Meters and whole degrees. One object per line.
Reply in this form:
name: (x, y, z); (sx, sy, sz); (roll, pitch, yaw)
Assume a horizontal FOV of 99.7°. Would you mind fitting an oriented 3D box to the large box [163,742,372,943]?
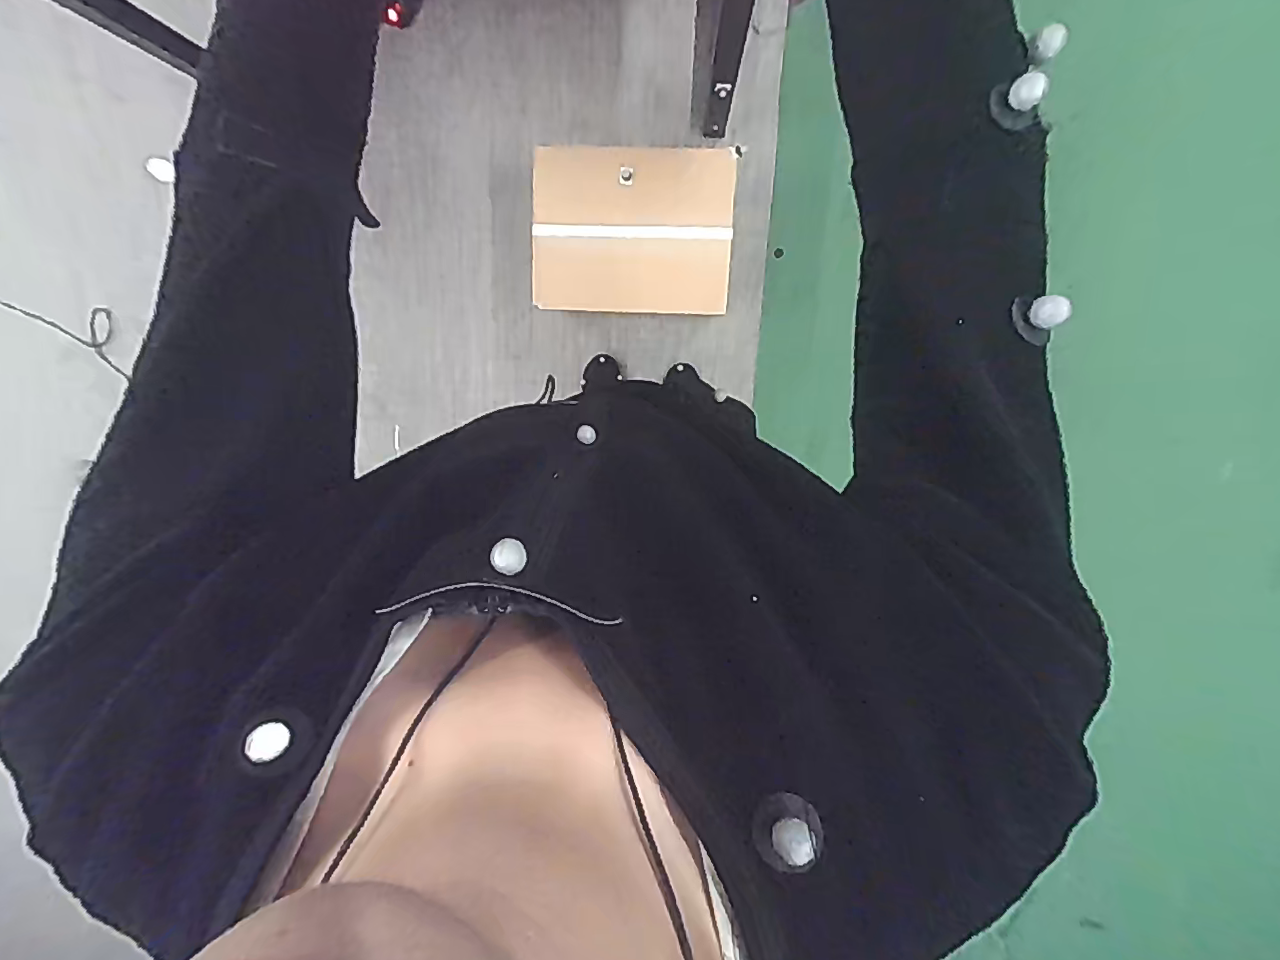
large box: (-1.159, 1.133, 1.719); (0.408, 0.320, 0.320); (32, 104, -3)
